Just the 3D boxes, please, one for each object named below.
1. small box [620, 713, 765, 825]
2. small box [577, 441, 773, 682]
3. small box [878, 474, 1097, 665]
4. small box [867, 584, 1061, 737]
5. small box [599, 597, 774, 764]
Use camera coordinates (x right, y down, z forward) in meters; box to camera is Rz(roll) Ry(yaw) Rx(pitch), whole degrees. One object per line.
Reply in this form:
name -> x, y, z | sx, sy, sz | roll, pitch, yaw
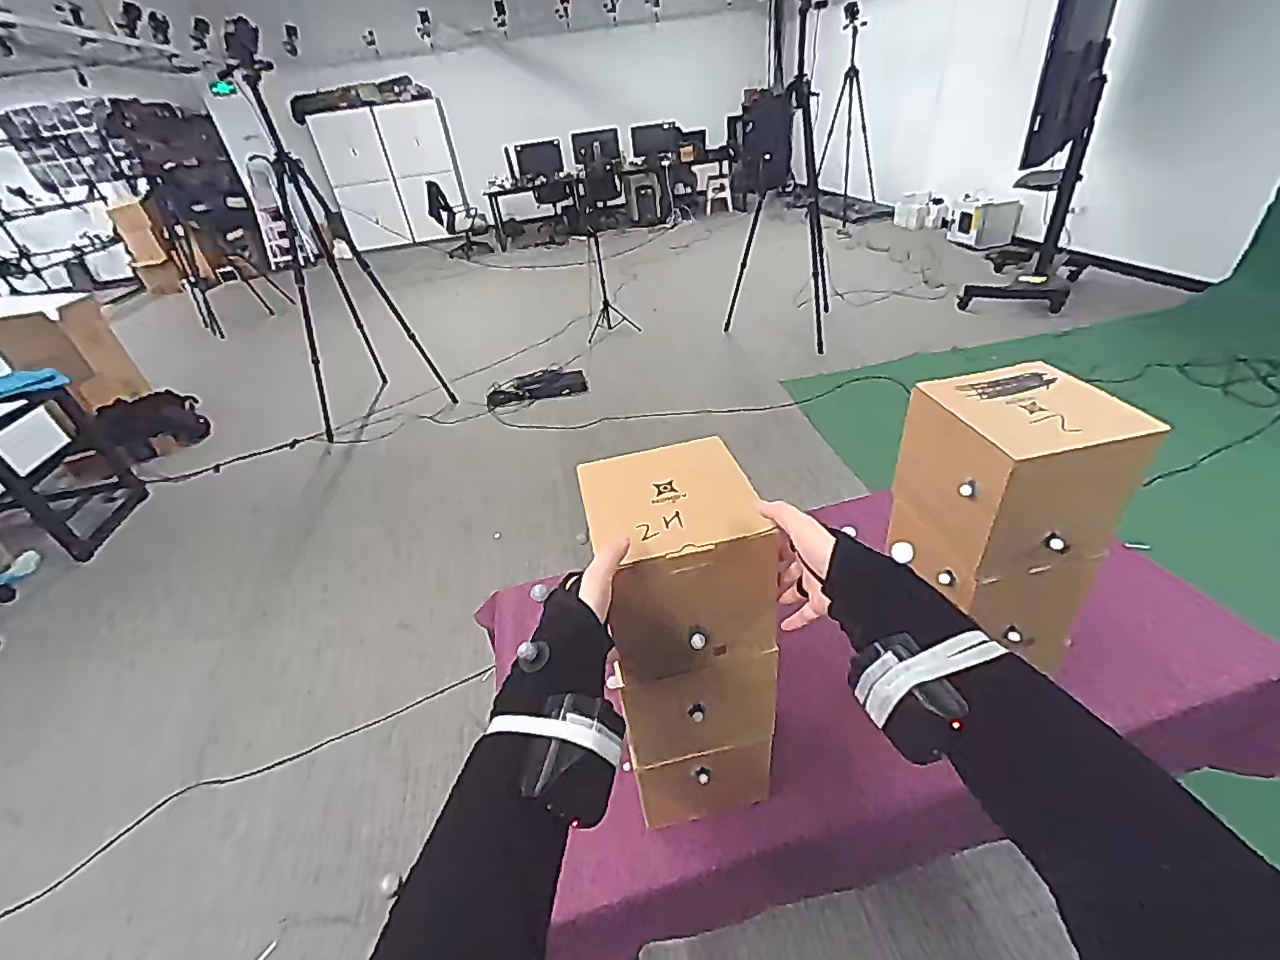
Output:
small box -> 0.068, 0.356, 0.768 | 0.179, 0.176, 0.168 | -11, 36, -5
small box -> 0.033, 0.083, 0.588 | 0.168, 0.176, 0.179 | -13, 36, -5
small box -> 0.450, 0.119, 0.739 | 0.168, 0.176, 0.179 | -12, 36, -5
small box -> 0.474, 0.257, 0.823 | 0.179, 0.176, 0.168 | -12, 34, -6
small box -> 0.054, 0.221, 0.678 | 0.179, 0.176, 0.168 | -13, 36, -4
